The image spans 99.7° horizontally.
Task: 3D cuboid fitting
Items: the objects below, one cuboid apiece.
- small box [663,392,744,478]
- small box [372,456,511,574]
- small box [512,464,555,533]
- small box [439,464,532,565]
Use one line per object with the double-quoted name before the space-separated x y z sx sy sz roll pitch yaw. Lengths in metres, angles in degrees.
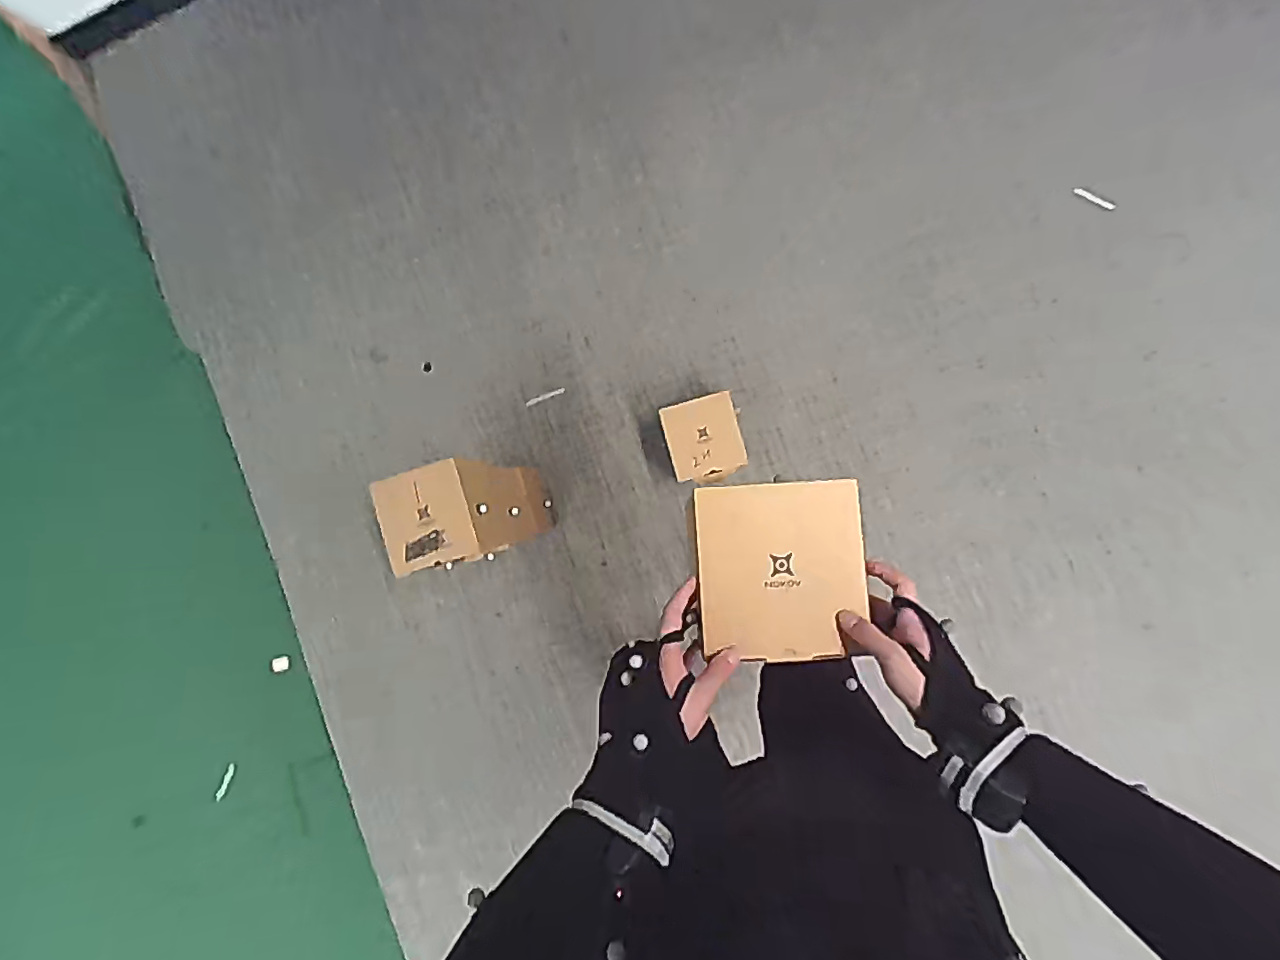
"small box" 0.151 -0.101 1.290 0.168 0.176 0.179 -9 90 8
"small box" -0.361 0.059 1.017 0.168 0.176 0.179 -17 88 6
"small box" -0.330 0.062 1.343 0.179 0.176 0.168 -15 89 6
"small box" -0.351 0.068 1.182 0.168 0.176 0.179 -15 90 6
